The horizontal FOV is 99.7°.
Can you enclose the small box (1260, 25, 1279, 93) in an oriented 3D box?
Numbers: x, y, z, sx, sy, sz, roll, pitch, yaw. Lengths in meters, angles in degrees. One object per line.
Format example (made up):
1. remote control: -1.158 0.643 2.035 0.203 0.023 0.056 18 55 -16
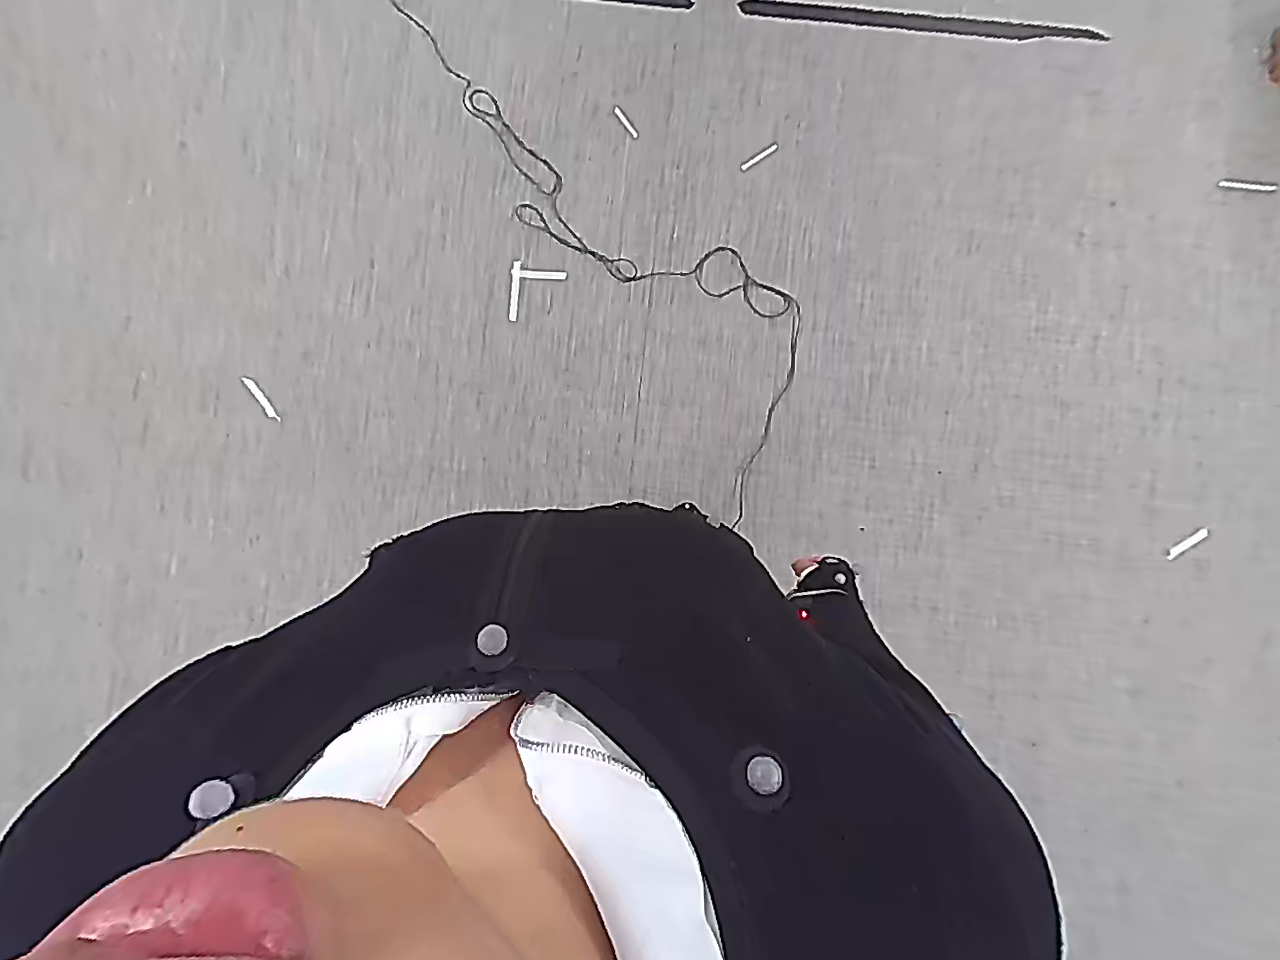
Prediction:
1. small box: 1.857 -1.190 1.465 0.168 0.176 0.179 7 88 2
